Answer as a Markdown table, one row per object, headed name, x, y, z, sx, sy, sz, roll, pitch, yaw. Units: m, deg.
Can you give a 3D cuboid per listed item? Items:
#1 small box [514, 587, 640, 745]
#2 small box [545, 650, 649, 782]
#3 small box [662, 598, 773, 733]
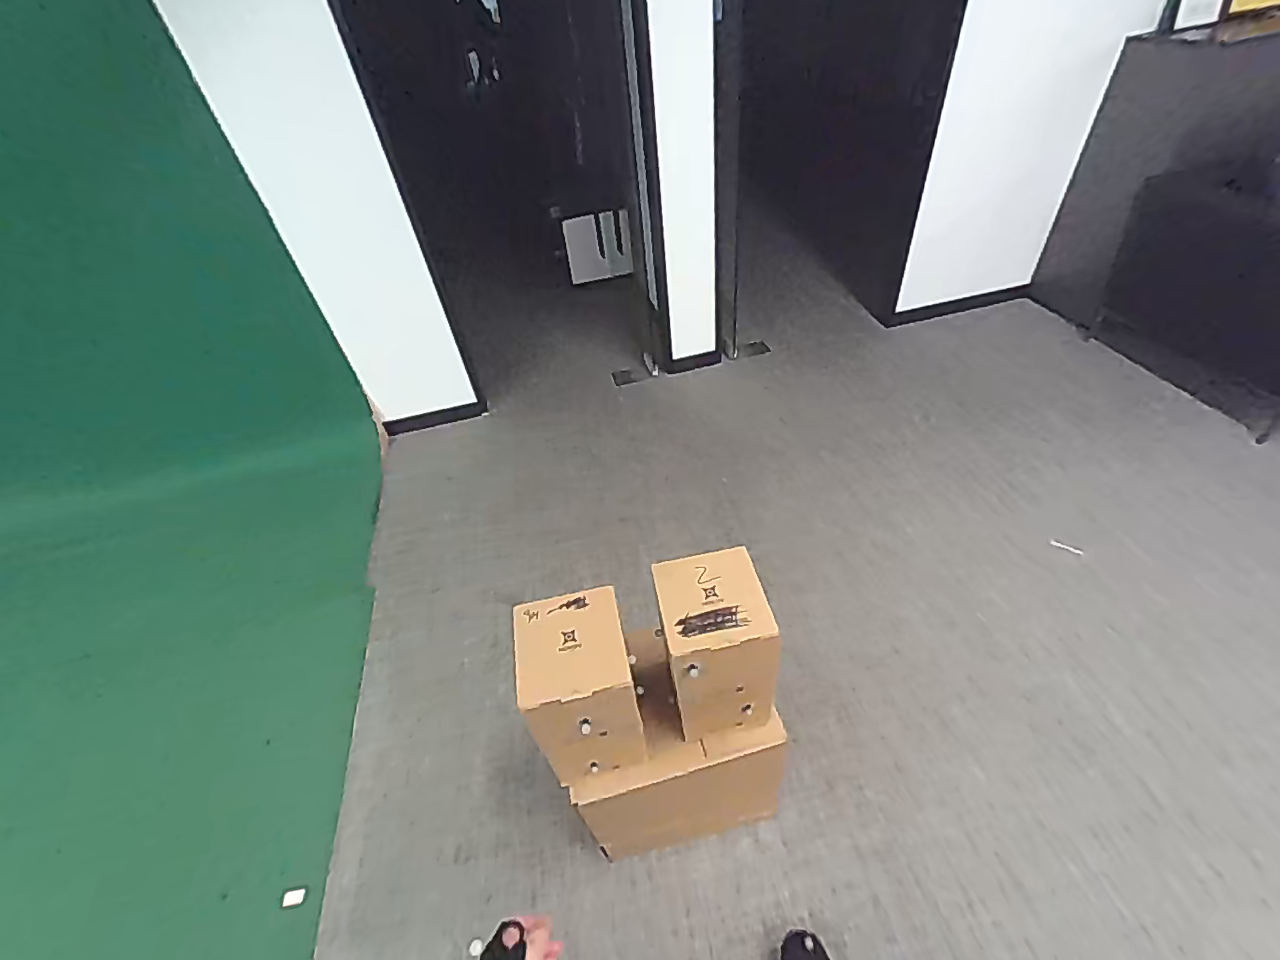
| name | x | y | z | sx | sy | sz | roll | pitch | yaw |
| --- | --- | --- | --- | --- | --- | --- | --- | --- | --- |
| small box | -0.099 | 0.305 | 0.870 | 0.168 | 0.176 | 0.179 | -11 | 45 | -4 |
| small box | -0.084 | 0.418 | 0.988 | 0.168 | 0.176 | 0.179 | -13 | 45 | -5 |
| small box | 0.143 | 0.354 | 1.016 | 0.168 | 0.176 | 0.179 | -12 | 43 | -2 |
